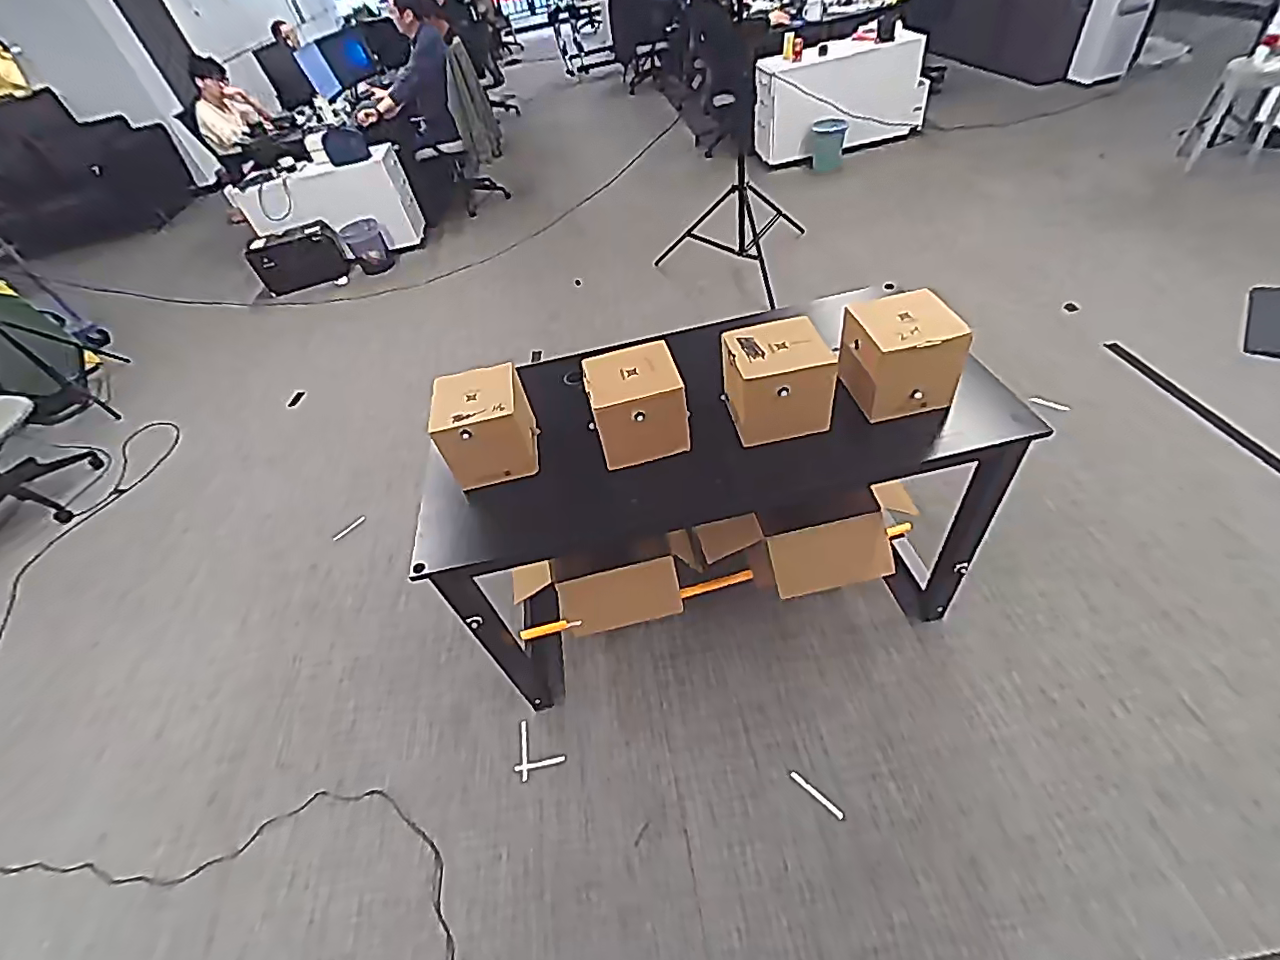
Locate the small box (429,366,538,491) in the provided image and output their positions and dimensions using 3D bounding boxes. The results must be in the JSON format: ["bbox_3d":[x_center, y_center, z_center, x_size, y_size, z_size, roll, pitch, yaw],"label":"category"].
[{"bbox_3d":[-0.314,-0.106,1.119,0.168,0.176,0.179,-13,46,-1],"label":"small box"}]

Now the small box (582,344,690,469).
[{"bbox_3d":[-0.007,-0.144,1.093,0.179,0.176,0.168,-14,47,-2],"label":"small box"}]

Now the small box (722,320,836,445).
[{"bbox_3d":[0.269,-0.188,1.071,0.179,0.176,0.168,-11,46,2],"label":"small box"}]

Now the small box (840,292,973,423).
[{"bbox_3d":[0.509,-0.240,1.066,0.168,0.176,0.179,-12,46,2],"label":"small box"}]
